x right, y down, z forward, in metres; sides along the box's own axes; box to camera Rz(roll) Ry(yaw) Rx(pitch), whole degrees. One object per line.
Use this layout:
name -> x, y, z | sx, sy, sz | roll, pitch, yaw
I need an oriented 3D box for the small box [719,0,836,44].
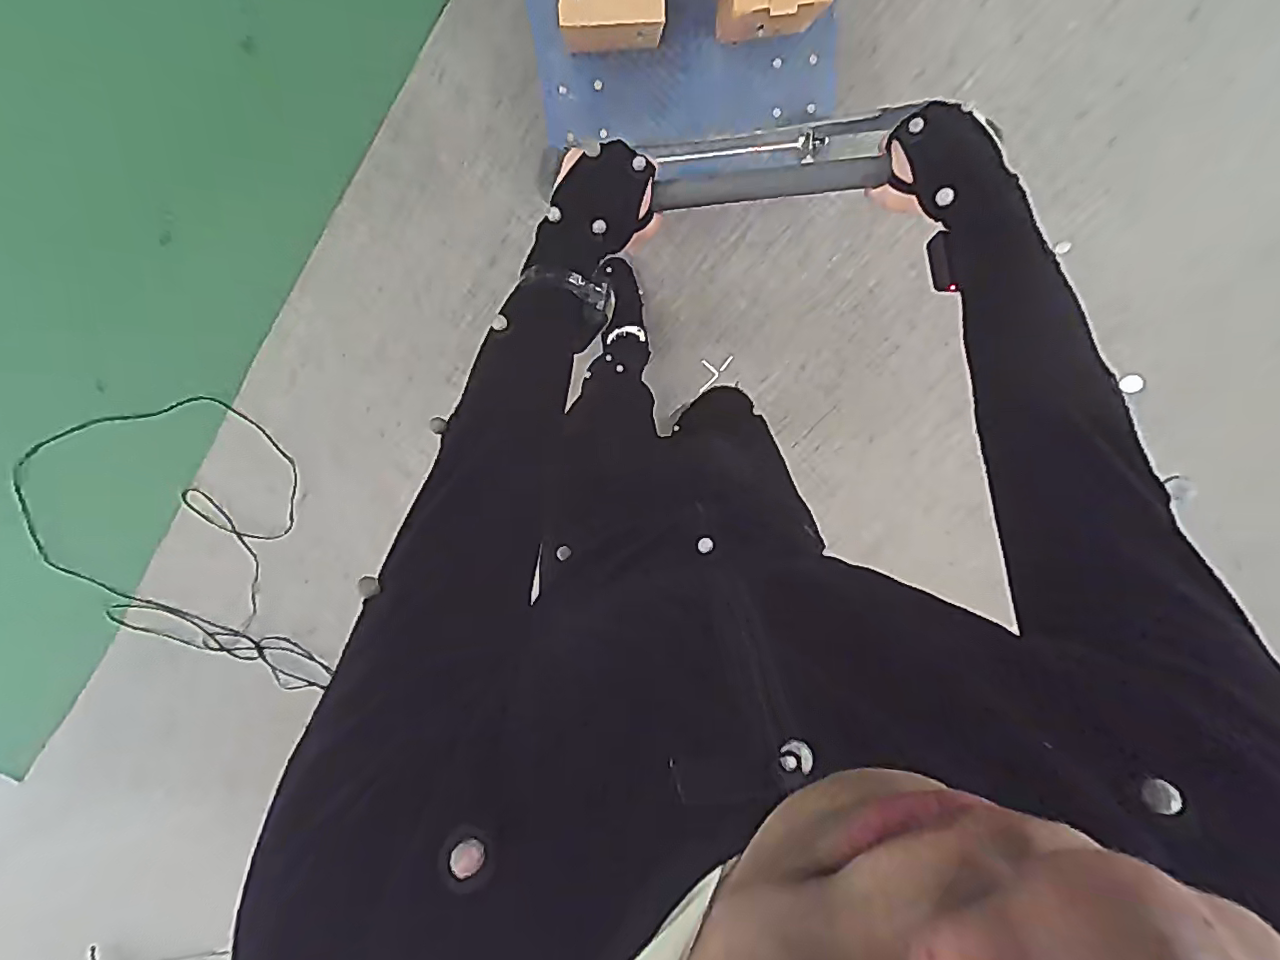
small box -> 0.227, -0.877, 0.917 | 0.168, 0.176, 0.179 | -7, 118, 1
